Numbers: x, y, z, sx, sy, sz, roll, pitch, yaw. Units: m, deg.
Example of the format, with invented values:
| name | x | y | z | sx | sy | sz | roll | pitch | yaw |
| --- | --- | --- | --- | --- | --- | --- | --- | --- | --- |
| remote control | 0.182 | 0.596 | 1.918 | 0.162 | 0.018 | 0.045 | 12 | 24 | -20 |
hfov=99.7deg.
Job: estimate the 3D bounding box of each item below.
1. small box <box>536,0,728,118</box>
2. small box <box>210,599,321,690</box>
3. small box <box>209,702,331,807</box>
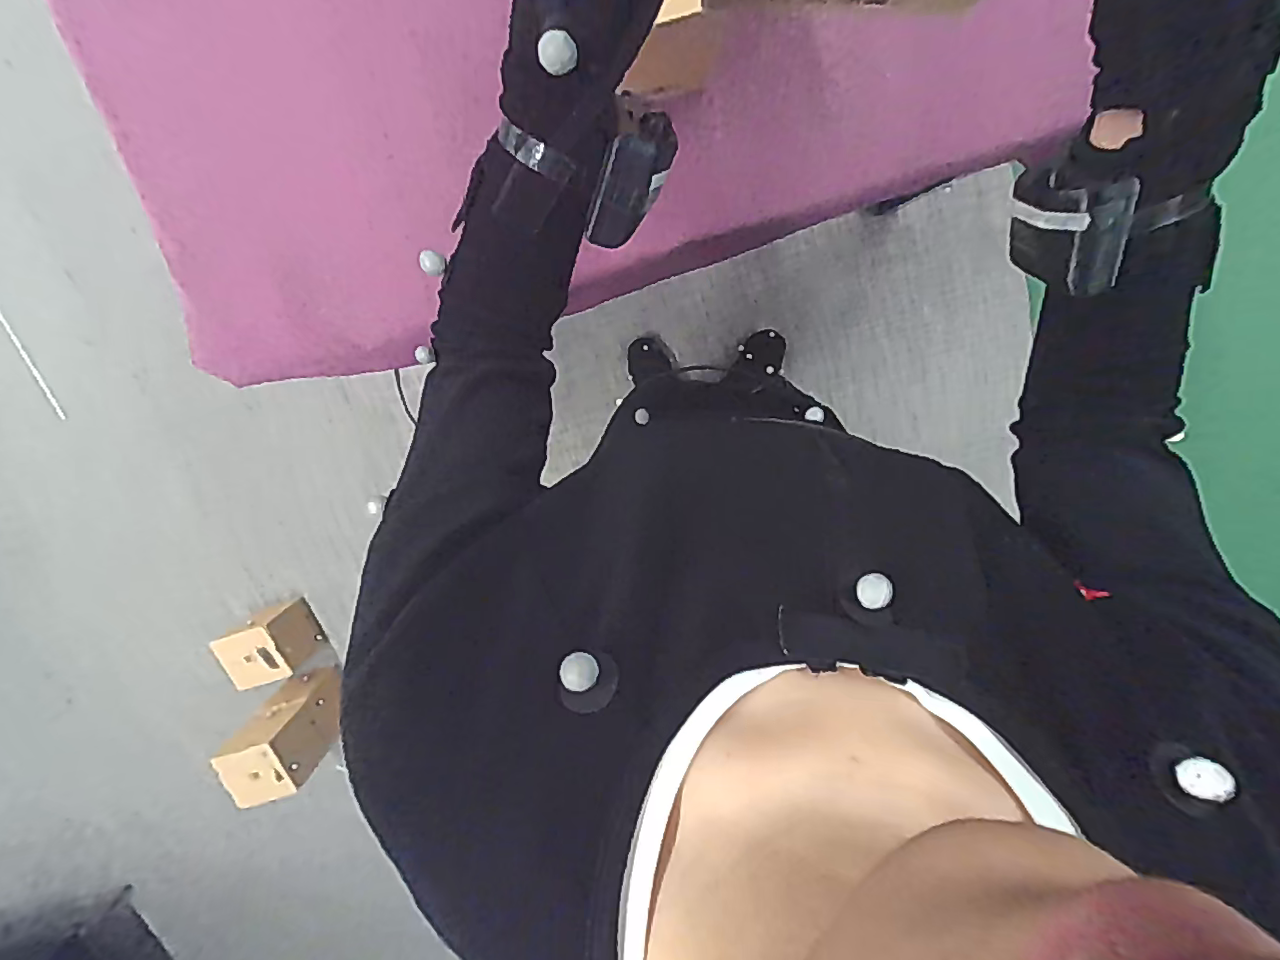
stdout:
| name | x | y | z | sx | sy | sz | roll | pitch | yaw |
| --- | --- | --- | --- | --- | --- | --- | --- | --- | --- |
| small box | -0.019 | -0.495 | 0.526 | 0.168 | 0.176 | 0.179 | -12 | 105 | 5 |
| small box | -1.059 | 0.465 | 1.553 | 0.179 | 0.176 | 0.168 | -18 | 104 | 6 |
| small box | -0.987 | 0.735 | 1.458 | 0.179 | 0.176 | 0.168 | -17 | 105 | 6 |
